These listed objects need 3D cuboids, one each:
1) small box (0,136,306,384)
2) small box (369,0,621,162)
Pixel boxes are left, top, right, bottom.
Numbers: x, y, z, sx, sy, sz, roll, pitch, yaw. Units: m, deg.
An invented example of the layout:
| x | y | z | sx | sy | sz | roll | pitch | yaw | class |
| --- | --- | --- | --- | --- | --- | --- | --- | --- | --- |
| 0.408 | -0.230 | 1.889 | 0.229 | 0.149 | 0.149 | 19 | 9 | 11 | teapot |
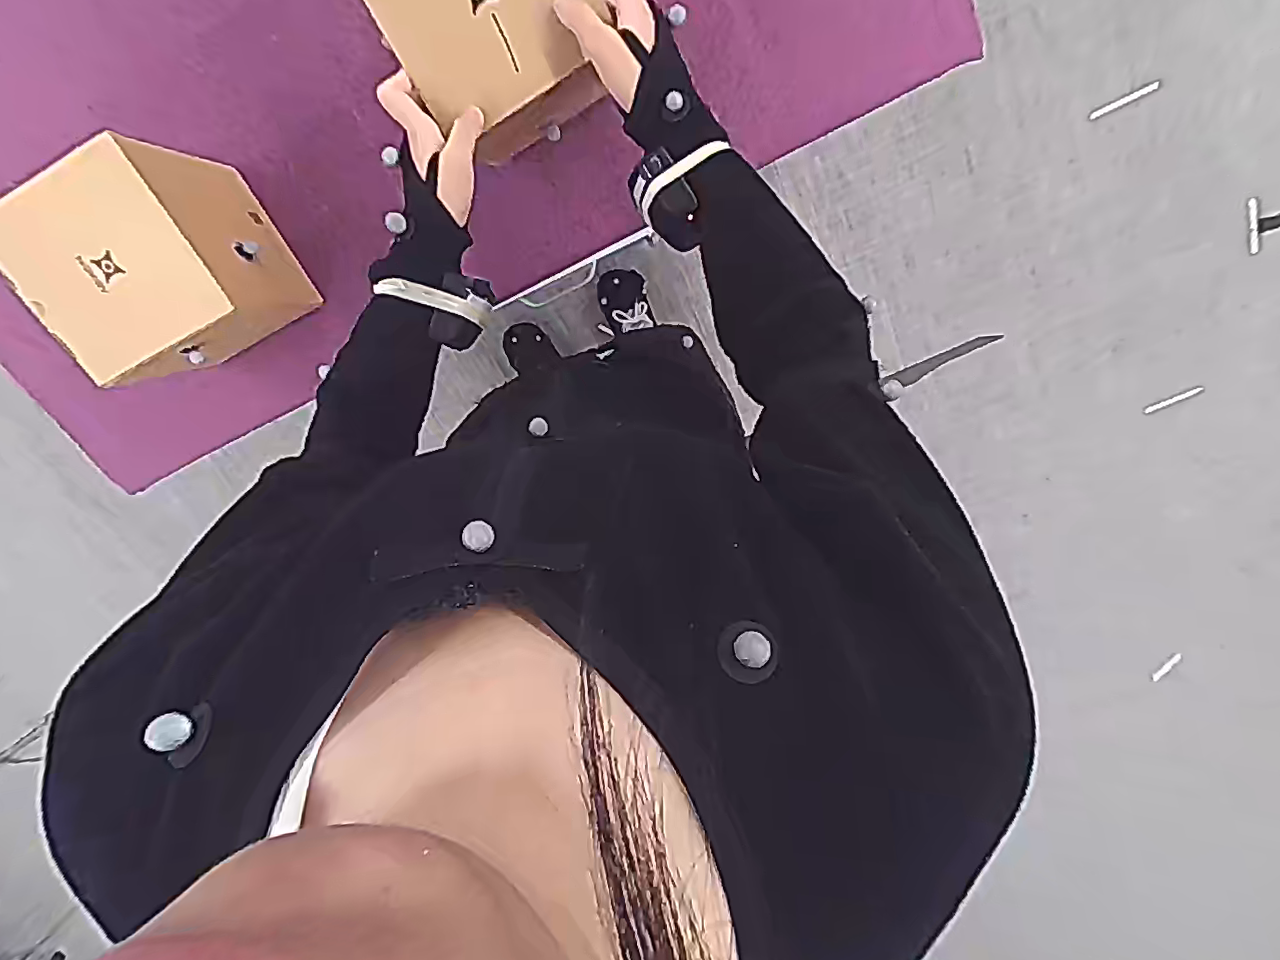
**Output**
| x | y | z | sx | sy | sz | roll | pitch | yaw | class |
| --- | --- | --- | --- | --- | --- | --- | --- | --- | --- |
| -0.500 | -0.227 | 0.577 | 0.179 | 0.176 | 0.168 | -24 | 110 | 8 | small box |
| -0.129 | -0.421 | 0.492 | 0.168 | 0.176 | 0.179 | -26 | 115 | 11 | small box |
